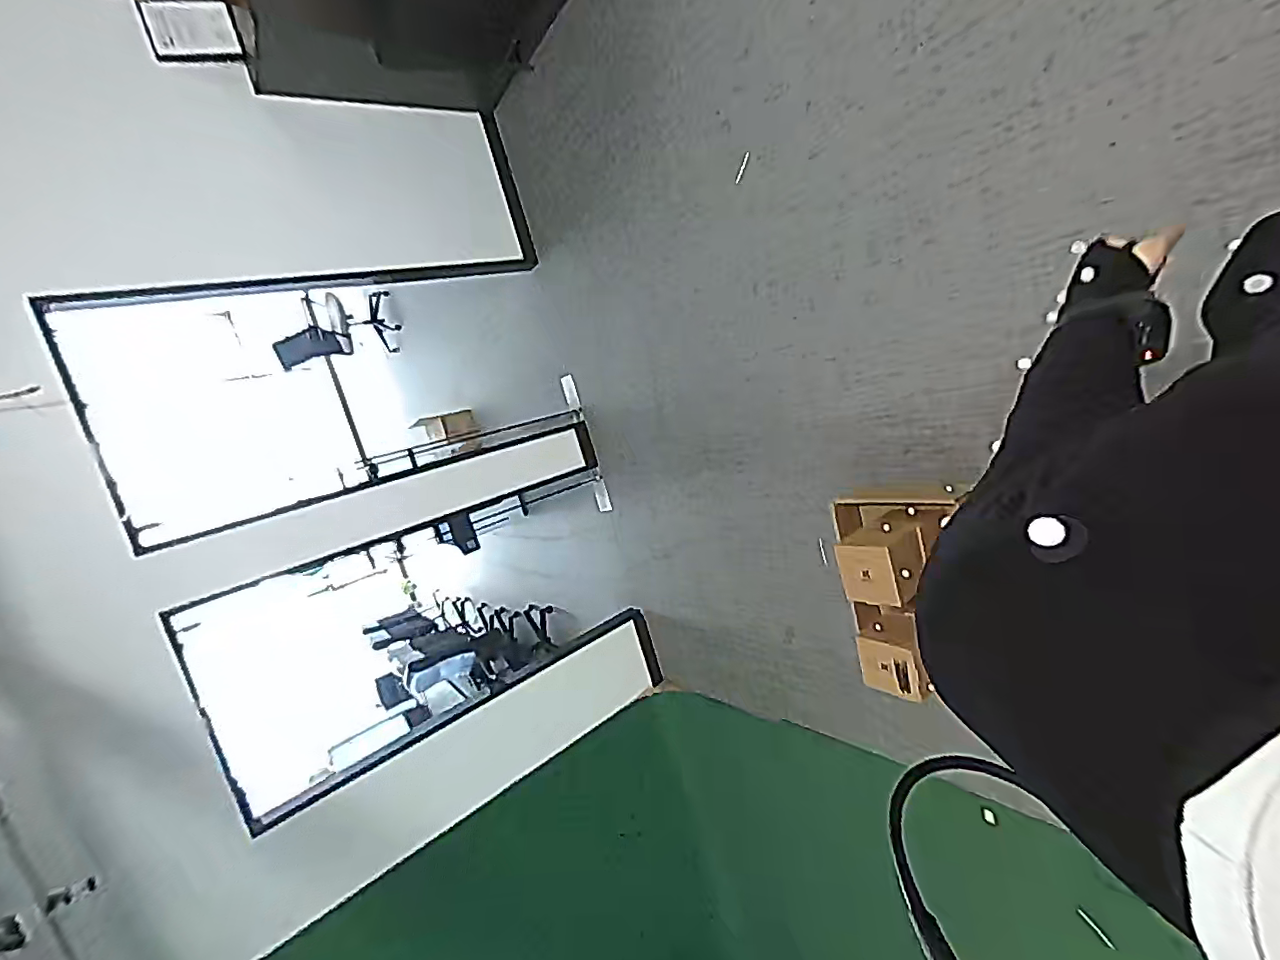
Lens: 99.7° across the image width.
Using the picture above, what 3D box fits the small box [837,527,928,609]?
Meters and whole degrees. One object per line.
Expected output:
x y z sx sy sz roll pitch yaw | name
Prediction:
0.700 0.247 1.554 0.168 0.176 0.179 -6 102 53 | small box
